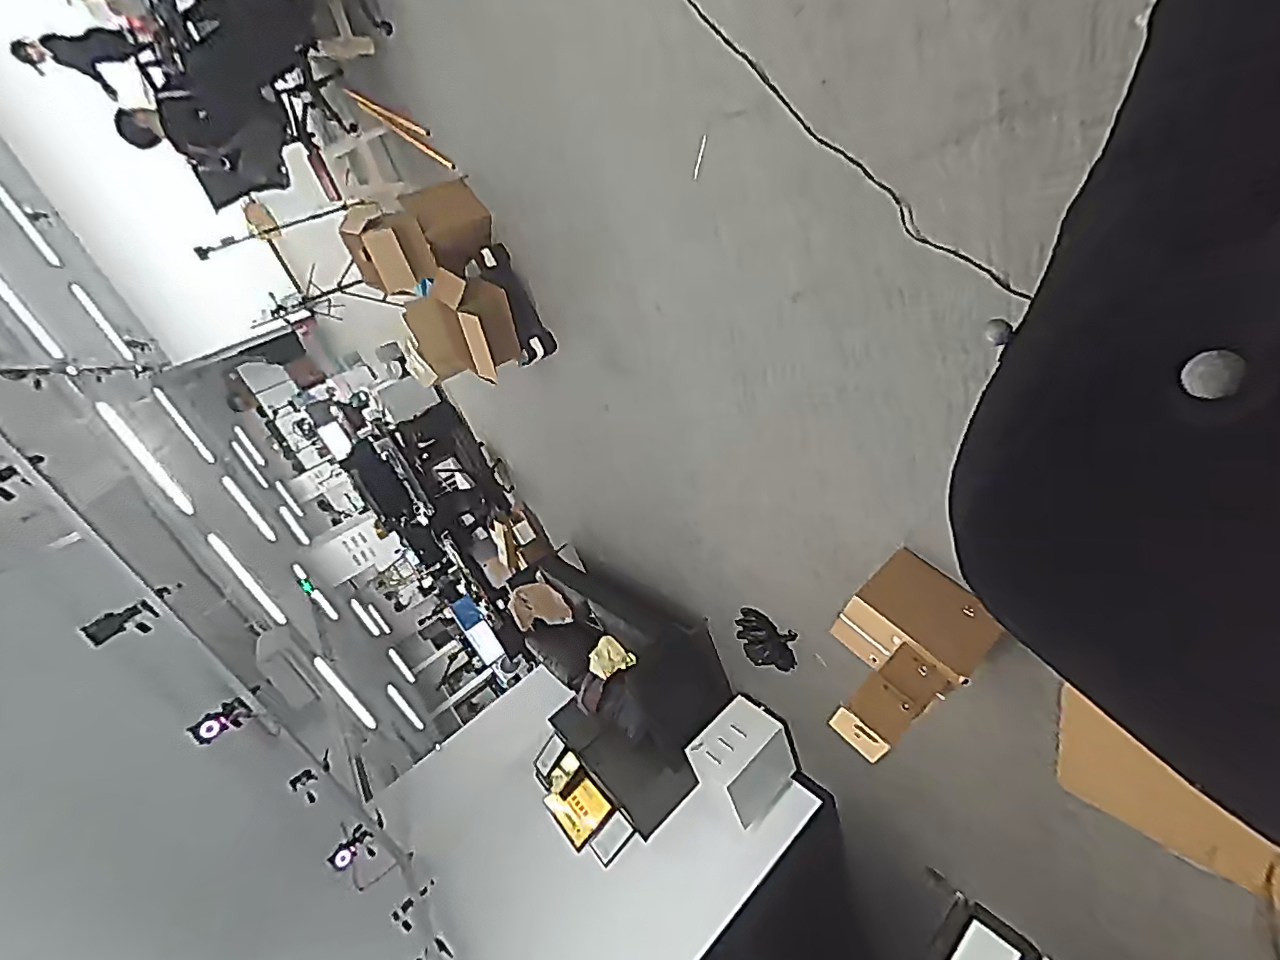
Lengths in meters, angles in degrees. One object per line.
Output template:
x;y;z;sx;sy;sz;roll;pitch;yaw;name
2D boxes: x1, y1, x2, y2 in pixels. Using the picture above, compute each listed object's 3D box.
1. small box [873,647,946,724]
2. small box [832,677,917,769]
0.860;0.685;1.771;0.168;0.176;0.179;42;149;26;small box
0.734;0.754;1.689;0.168;0.176;0.179;38;147;33;small box
